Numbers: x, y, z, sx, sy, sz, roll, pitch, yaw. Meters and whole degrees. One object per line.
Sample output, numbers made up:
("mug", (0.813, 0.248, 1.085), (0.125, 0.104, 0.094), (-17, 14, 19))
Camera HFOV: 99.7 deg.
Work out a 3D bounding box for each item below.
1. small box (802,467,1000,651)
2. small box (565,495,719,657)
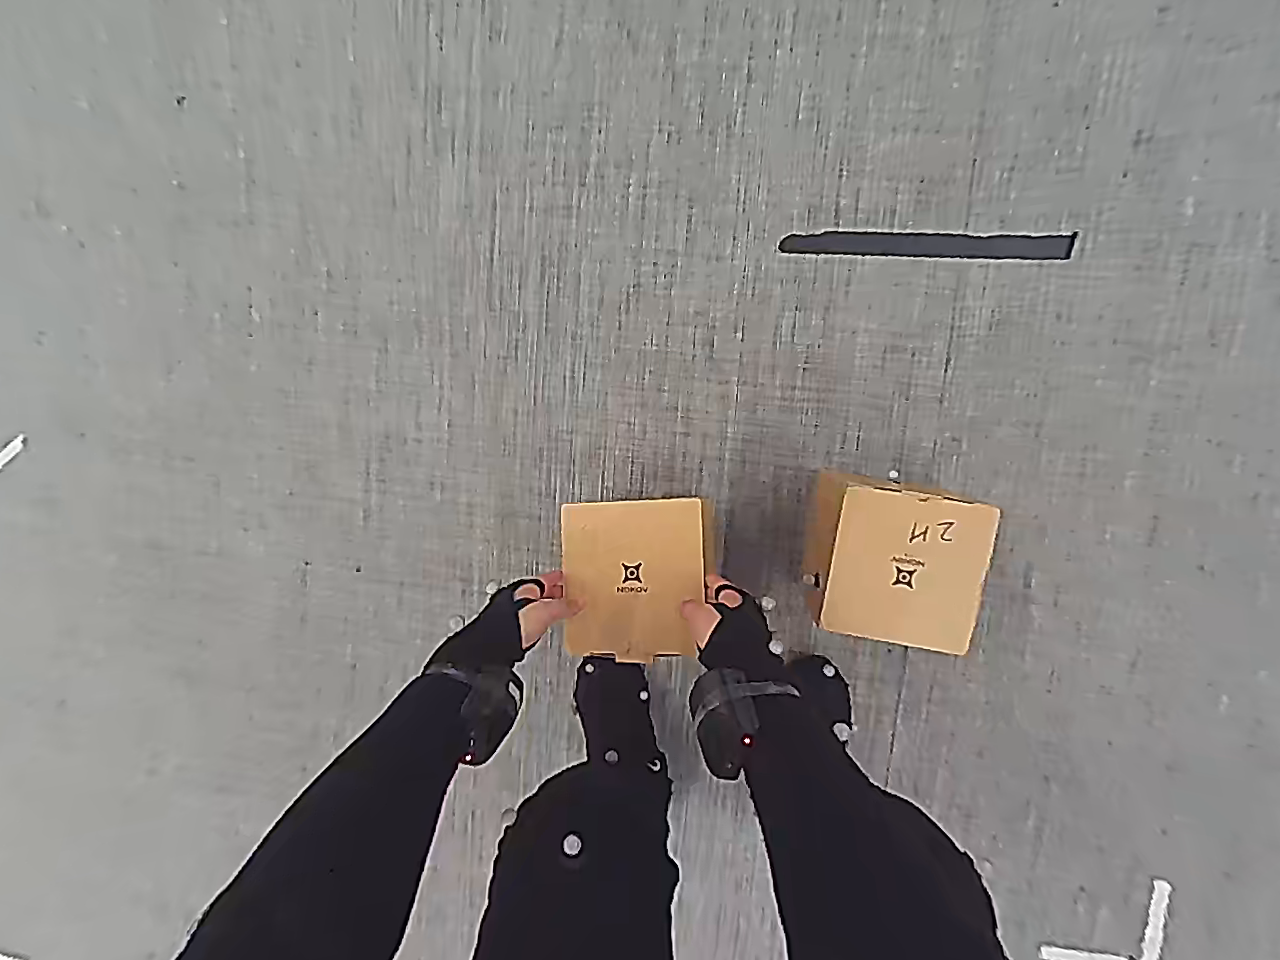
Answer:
("small box", (0.309, 0.087, 0.682), (0.168, 0.176, 0.179), (9, 97, 6))
("small box", (0.010, 0.115, 0.680), (0.168, 0.176, 0.179), (-4, 85, 11))
